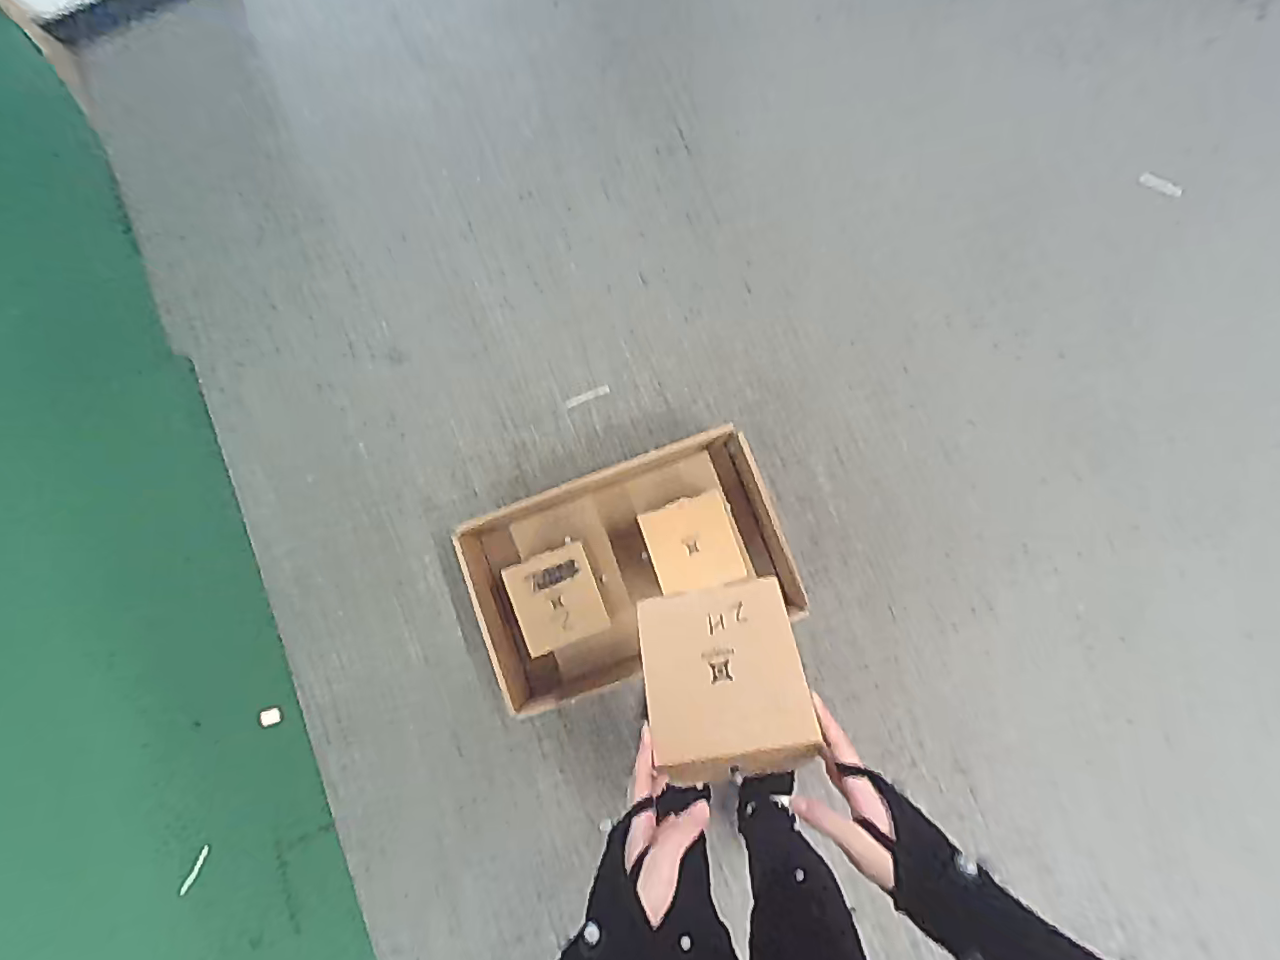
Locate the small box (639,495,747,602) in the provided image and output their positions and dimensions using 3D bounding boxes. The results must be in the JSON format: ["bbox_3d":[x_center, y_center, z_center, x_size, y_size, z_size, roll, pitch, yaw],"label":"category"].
[{"bbox_3d":[0.107,0.139,1.108,0.168,0.176,0.179,-20,83,2],"label":"small box"}]

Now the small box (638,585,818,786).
[{"bbox_3d":[0.099,0.245,0.627,0.168,0.176,0.179,-10,53,5],"label":"small box"}]
